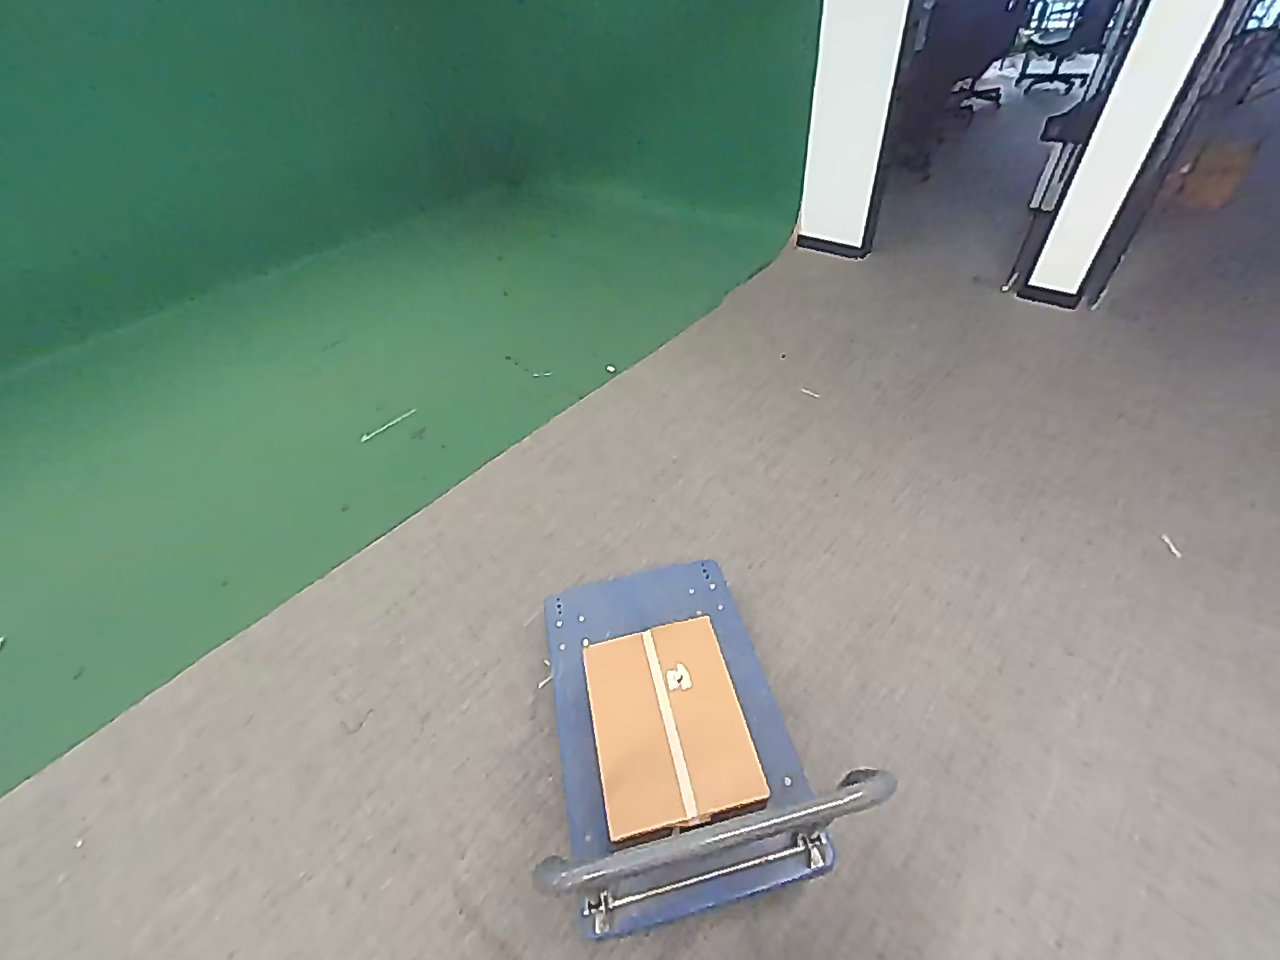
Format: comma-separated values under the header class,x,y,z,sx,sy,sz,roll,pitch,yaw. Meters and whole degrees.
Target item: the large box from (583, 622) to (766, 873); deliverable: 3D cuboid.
class,x,y,z,sx,sy,sz,roll,pitch,yaw
large box,0.072,0.617,1.267,0.320,0.320,0.408,-12,44,-5
